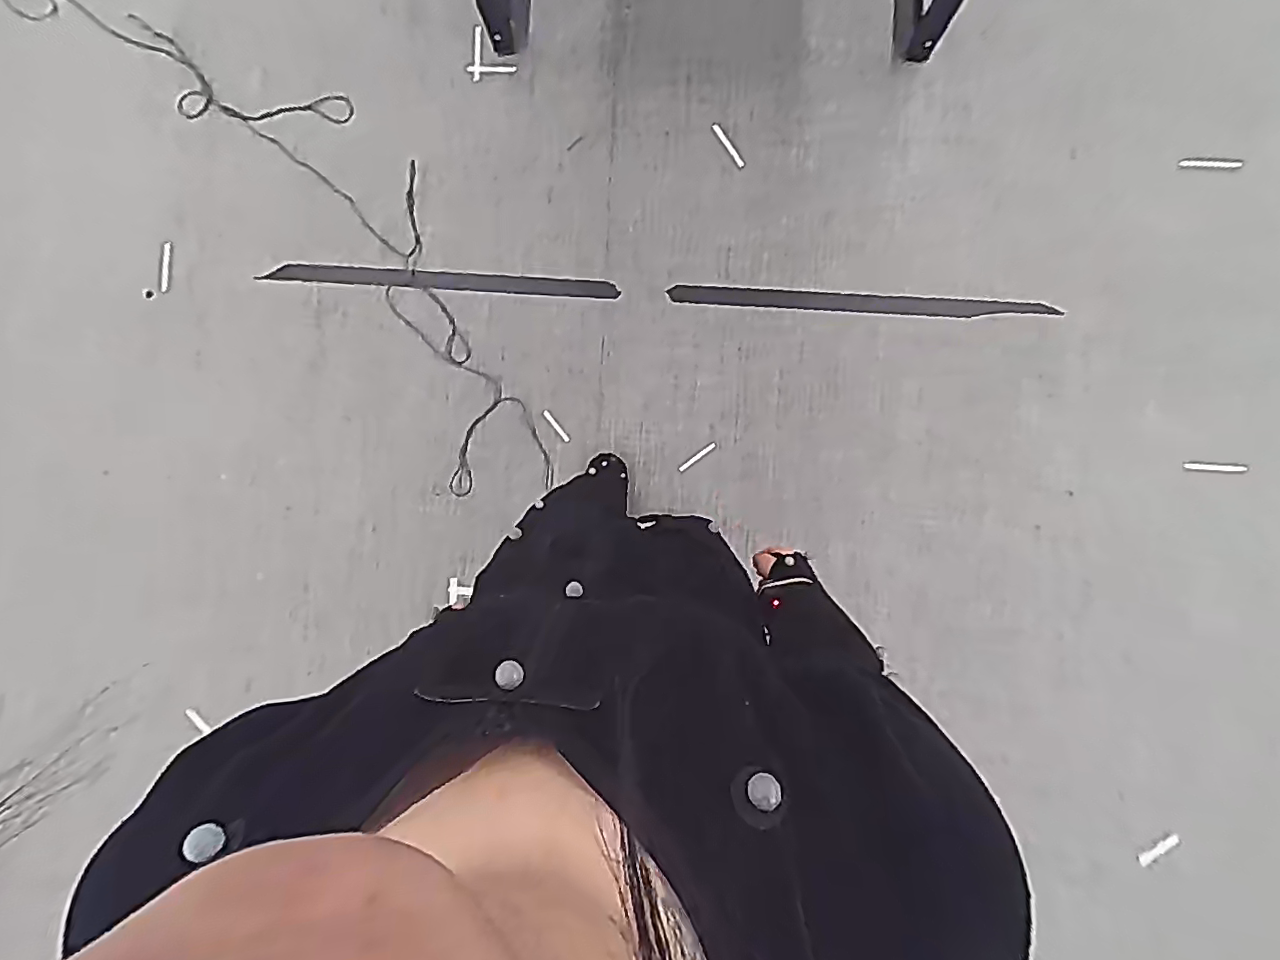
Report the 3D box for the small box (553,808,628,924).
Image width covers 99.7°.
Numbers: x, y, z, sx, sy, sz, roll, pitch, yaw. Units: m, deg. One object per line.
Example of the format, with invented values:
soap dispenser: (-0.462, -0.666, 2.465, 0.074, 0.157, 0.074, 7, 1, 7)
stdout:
small box: (-0.119, 0.955, 1.350, 0.168, 0.176, 0.179, -3, 89, 1)
